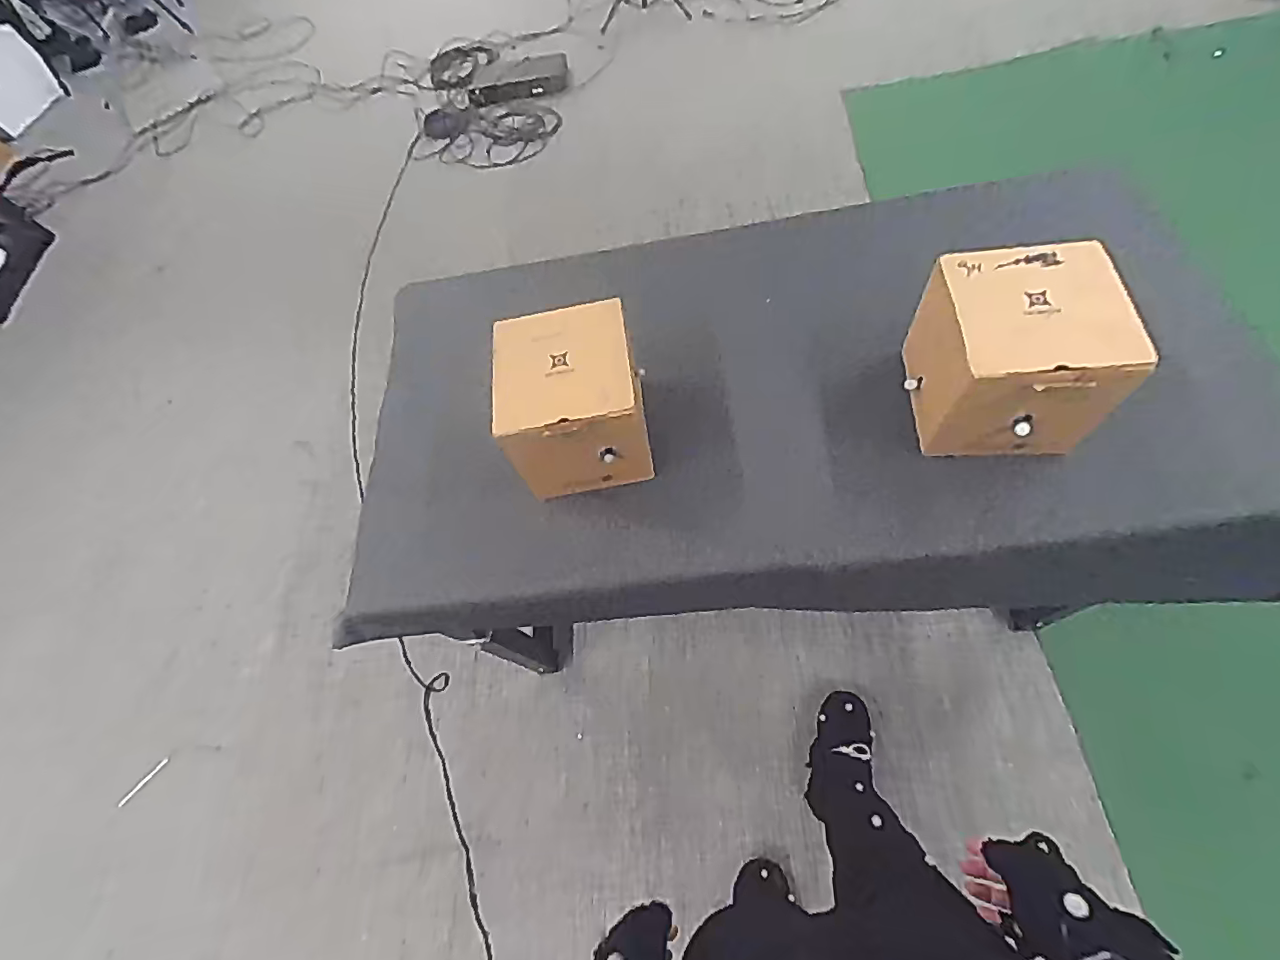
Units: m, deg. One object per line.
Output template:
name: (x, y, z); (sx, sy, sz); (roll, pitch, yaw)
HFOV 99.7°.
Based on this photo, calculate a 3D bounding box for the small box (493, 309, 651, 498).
small box: (-0.085, -0.090, 0.718); (0.168, 0.176, 0.179); (-11, 60, 3)

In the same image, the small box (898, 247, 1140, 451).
small box: (0.425, -0.142, 0.645); (0.168, 0.176, 0.179); (-2, 64, 10)
